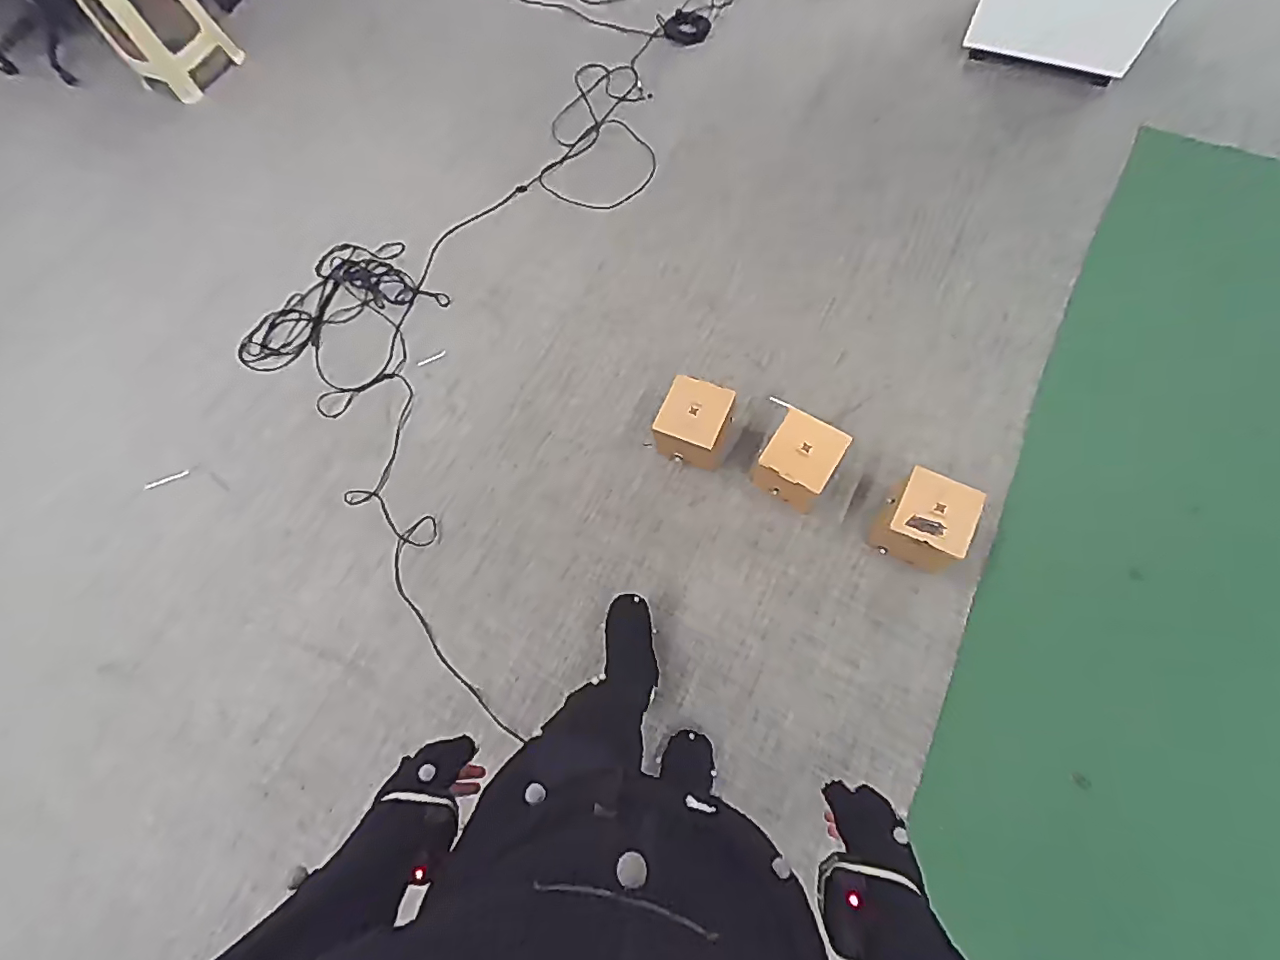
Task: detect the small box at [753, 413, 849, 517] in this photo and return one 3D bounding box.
[{"bbox_3d":[0.401,-0.033,1.383,0.168,0.176,0.179,30,76,16],"label":"small box"}]

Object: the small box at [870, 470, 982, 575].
[{"bbox_3d":[0.674,0.109,1.298,0.168,0.176,0.179,26,73,15],"label":"small box"}]

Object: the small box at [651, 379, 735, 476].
[{"bbox_3d":[0.144,-0.136,1.450,0.168,0.176,0.179,21,74,15],"label":"small box"}]
